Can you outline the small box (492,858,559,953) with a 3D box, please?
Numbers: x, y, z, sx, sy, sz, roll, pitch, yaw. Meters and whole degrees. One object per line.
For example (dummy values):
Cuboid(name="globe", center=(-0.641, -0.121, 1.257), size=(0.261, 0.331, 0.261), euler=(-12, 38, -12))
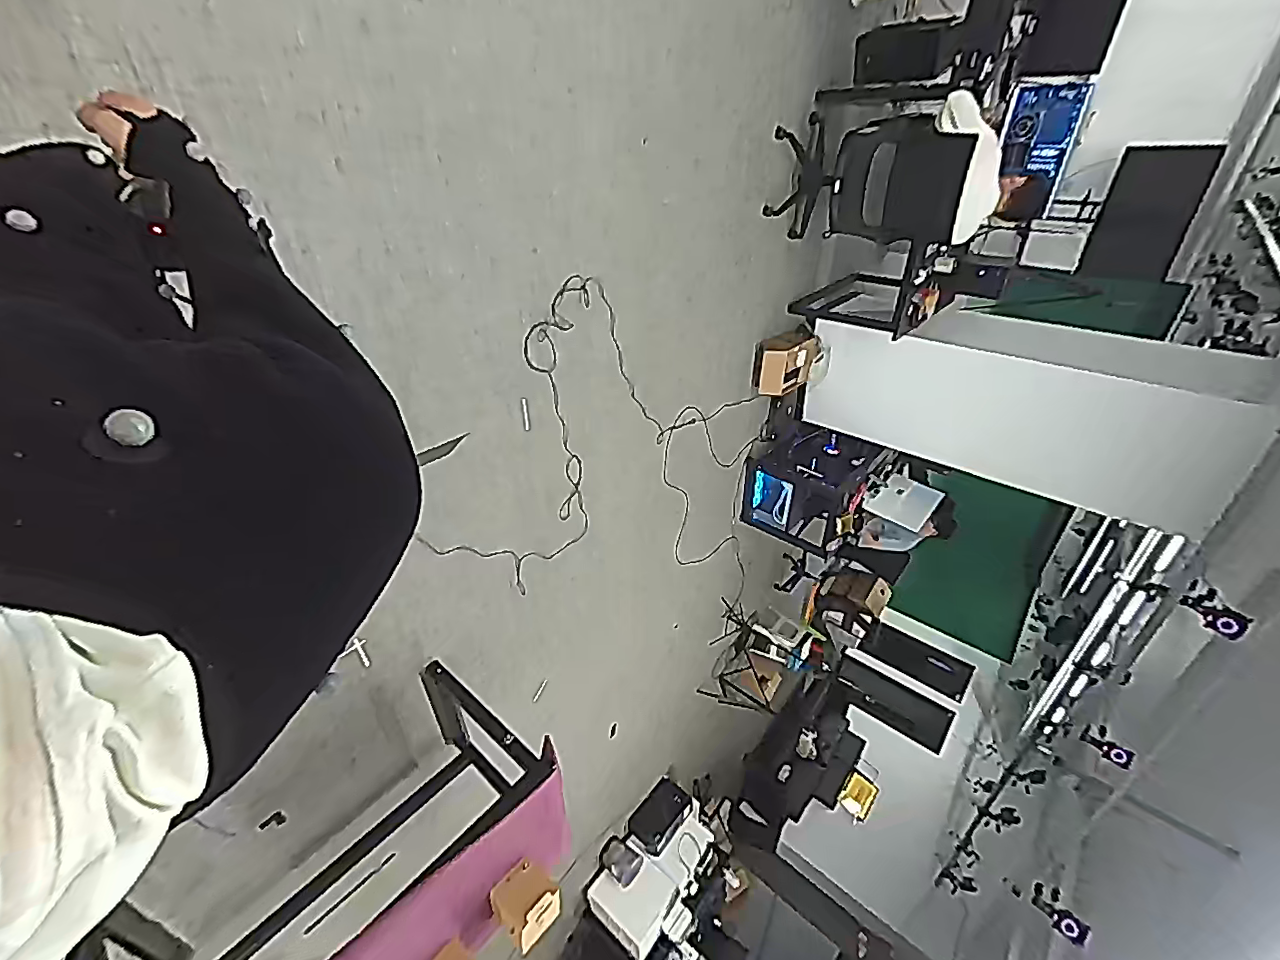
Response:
Cuboid(name="small box", center=(-0.399, 1.466, 1.878), size=(0.168, 0.176, 0.179), euler=(-27, 130, -43))
